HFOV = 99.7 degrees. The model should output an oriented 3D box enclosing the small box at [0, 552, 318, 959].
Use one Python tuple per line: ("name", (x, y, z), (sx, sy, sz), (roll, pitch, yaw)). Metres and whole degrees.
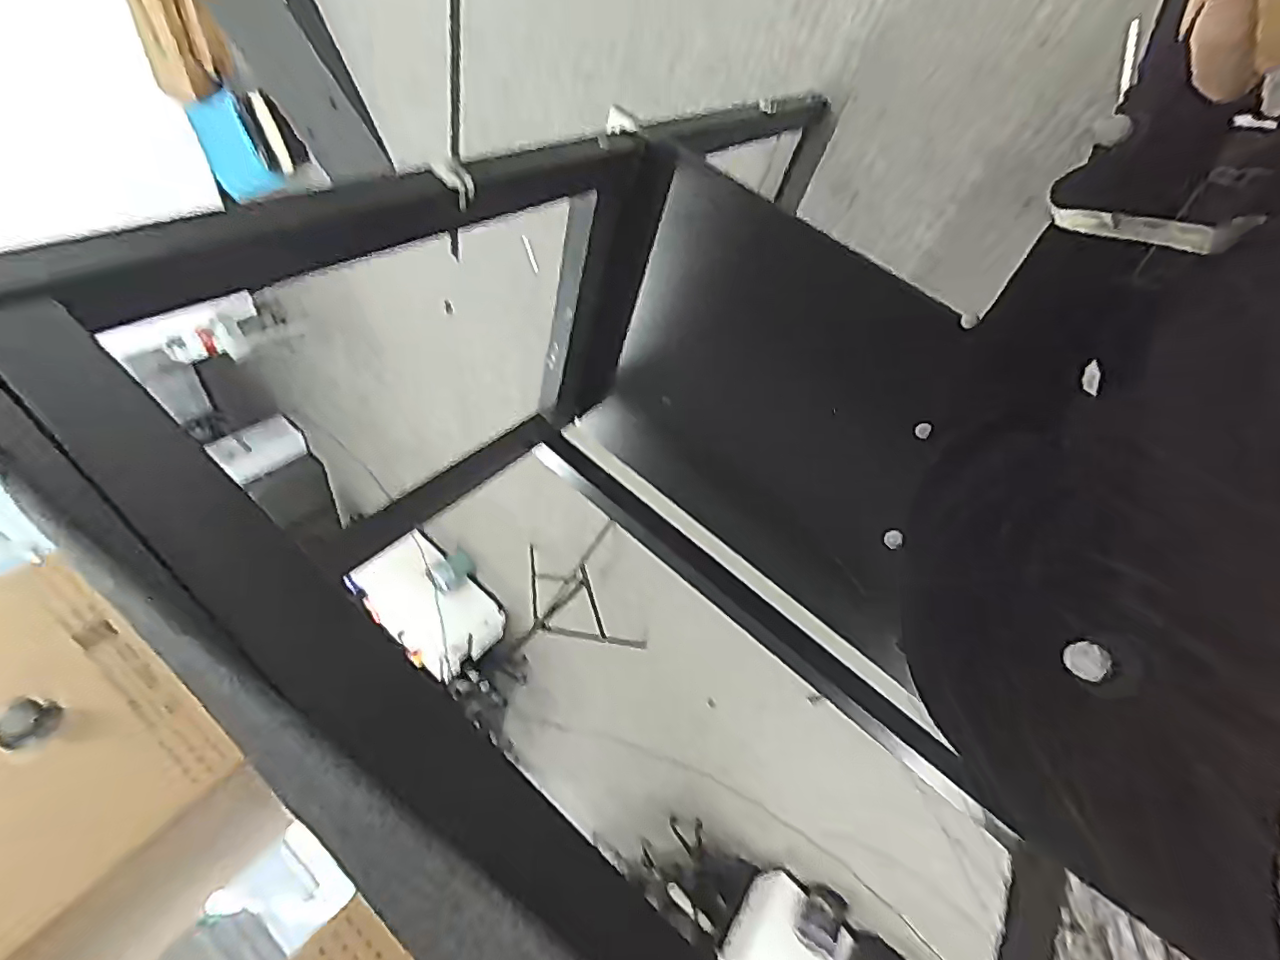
("small box", (-0.316, 0.175, 0.302), (0.168, 0.176, 0.179), (38, 142, 12))
